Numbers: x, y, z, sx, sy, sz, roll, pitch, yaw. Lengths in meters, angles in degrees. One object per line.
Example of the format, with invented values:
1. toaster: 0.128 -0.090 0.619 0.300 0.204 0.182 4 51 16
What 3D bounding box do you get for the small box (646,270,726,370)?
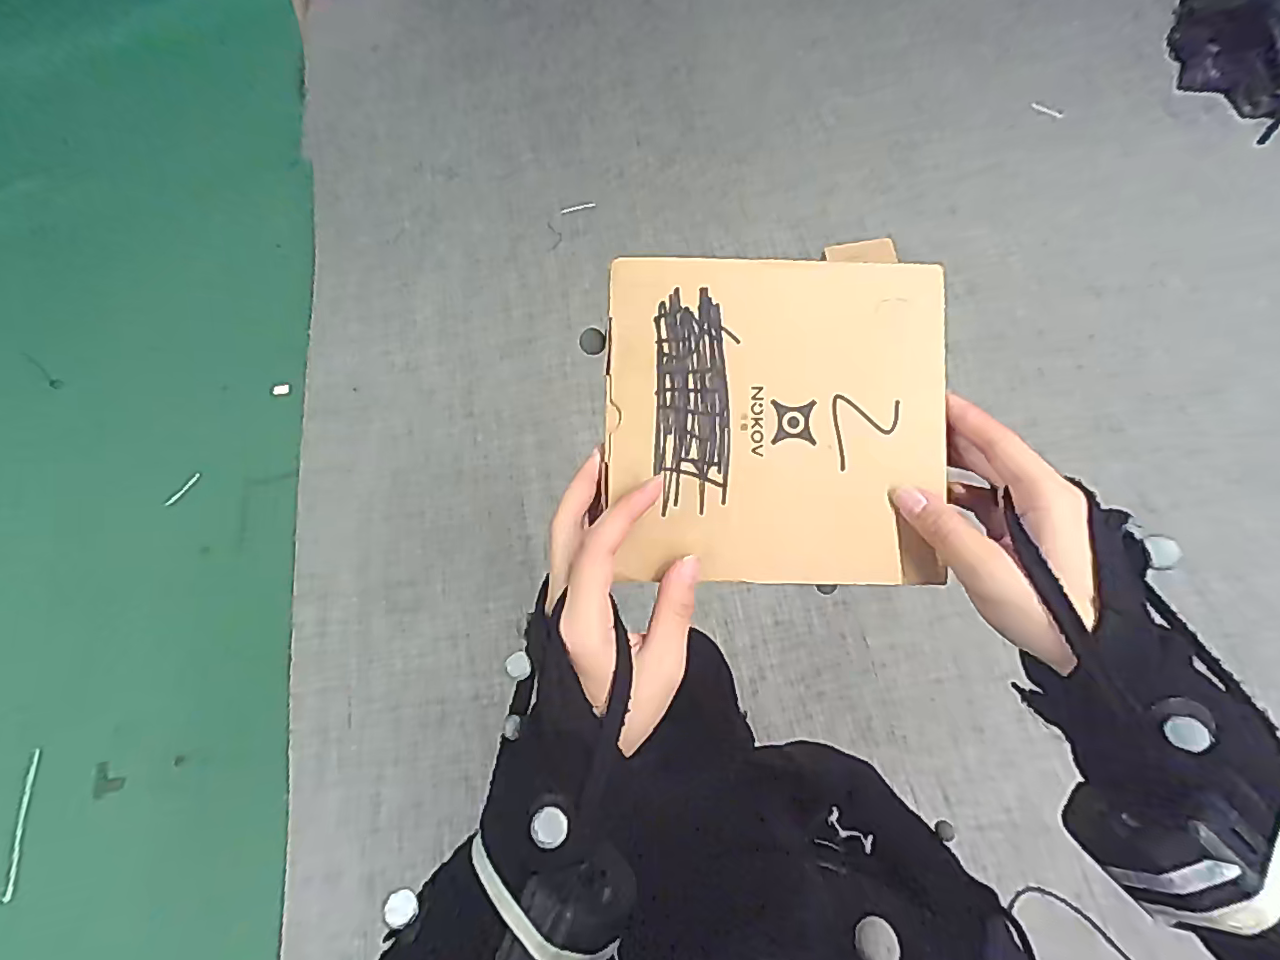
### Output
1. small box: 0.118 -0.410 1.405 0.179 0.176 0.168 -11 70 3
